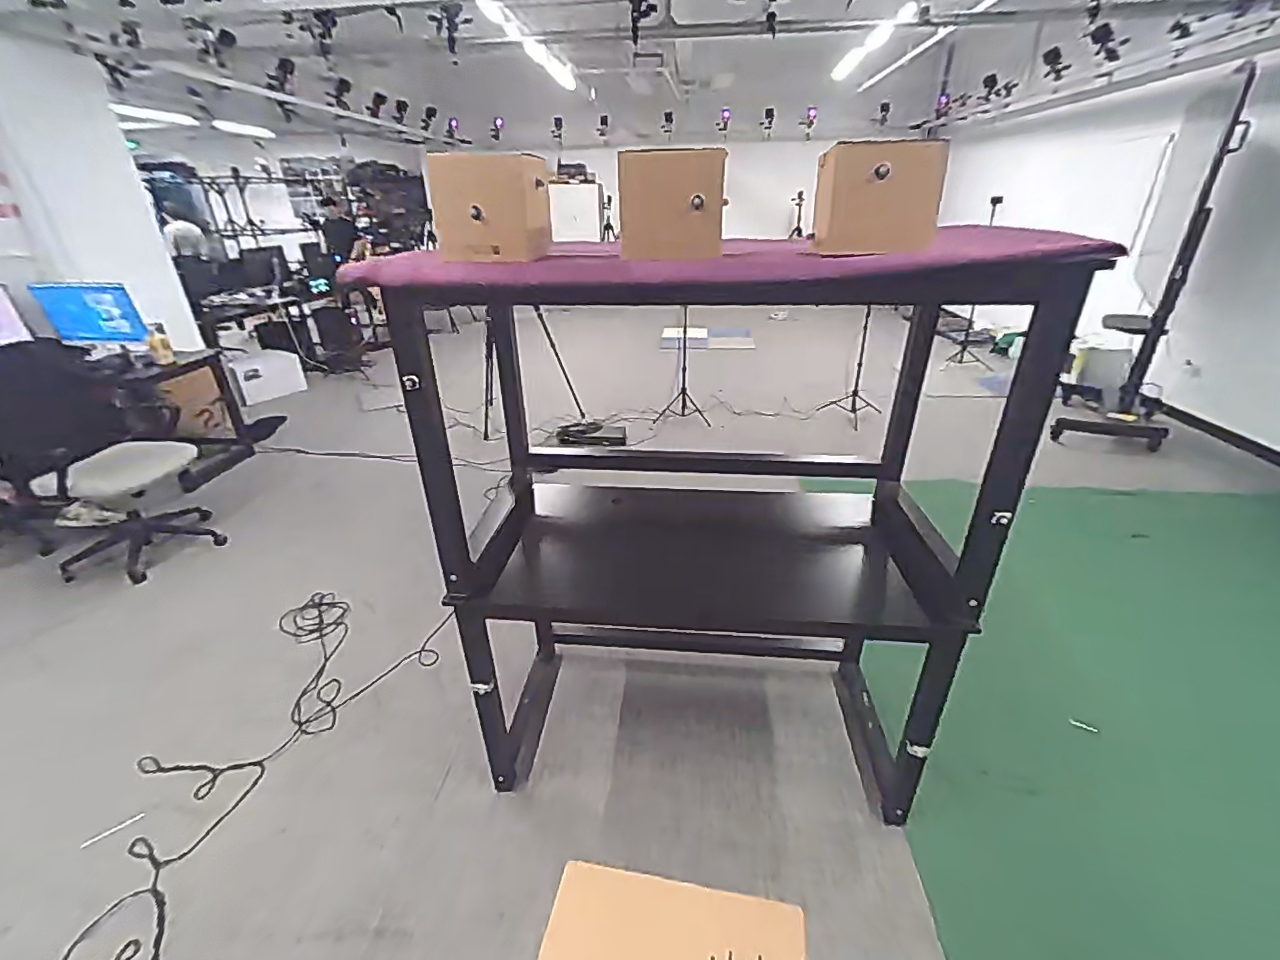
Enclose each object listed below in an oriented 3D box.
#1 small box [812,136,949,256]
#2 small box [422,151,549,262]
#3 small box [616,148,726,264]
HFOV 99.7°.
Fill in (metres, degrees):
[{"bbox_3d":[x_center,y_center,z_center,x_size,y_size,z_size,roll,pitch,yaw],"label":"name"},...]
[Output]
[{"bbox_3d":[0.404,-0.487,0.946,0.179,0.176,0.168,2,25,7],"label":"small box"},{"bbox_3d":[-0.265,-0.492,0.980,0.168,0.176,0.179,2,28,4],"label":"small box"},{"bbox_3d":[0.056,-0.483,0.960,0.179,0.176,0.168,0,27,5],"label":"small box"}]
